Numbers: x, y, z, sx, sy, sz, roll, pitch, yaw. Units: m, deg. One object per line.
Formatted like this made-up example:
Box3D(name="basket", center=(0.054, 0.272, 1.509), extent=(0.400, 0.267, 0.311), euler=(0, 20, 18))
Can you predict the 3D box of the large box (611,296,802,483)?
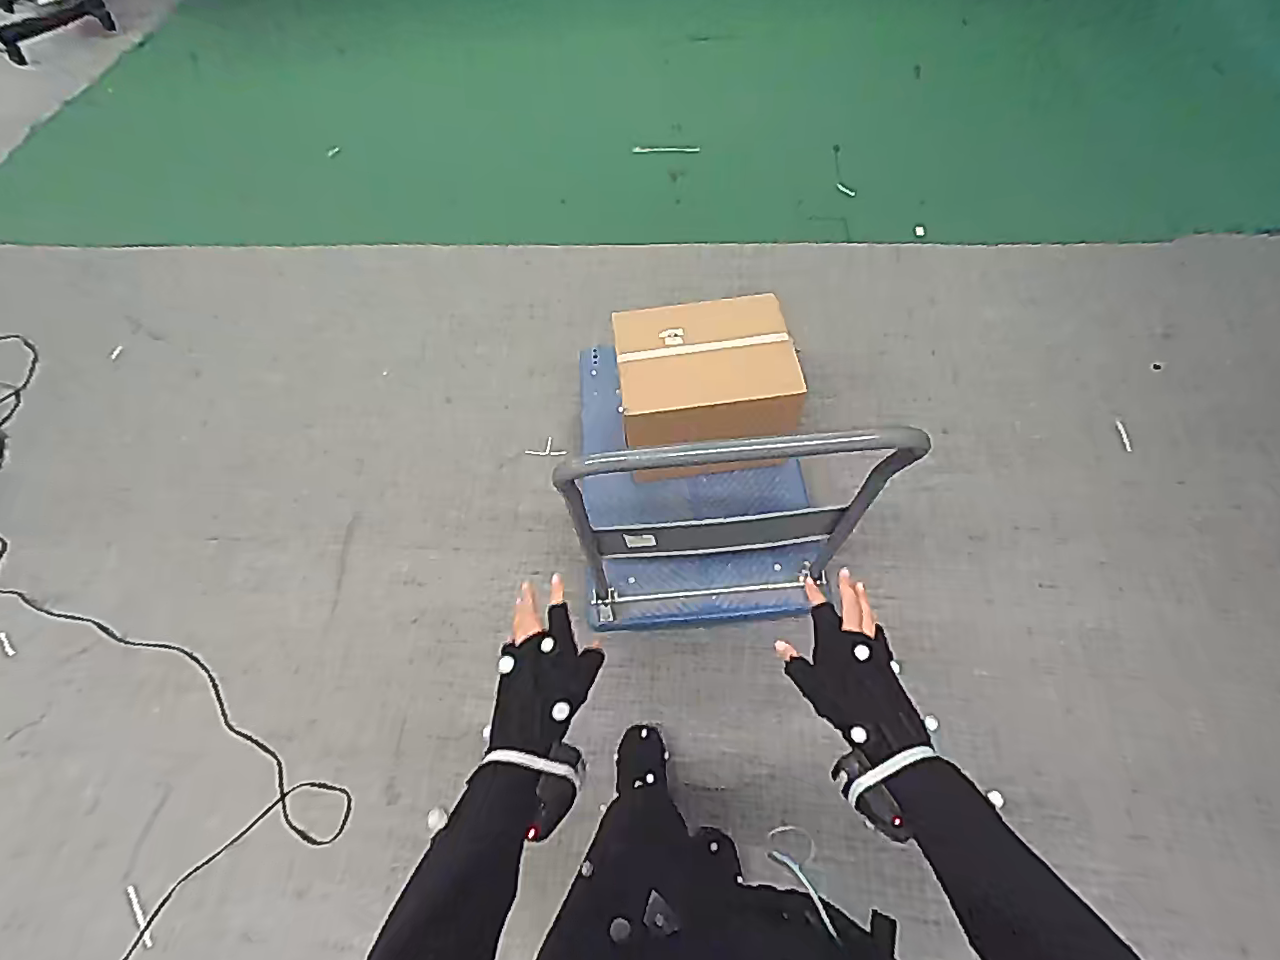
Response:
Box3D(name="large box", center=(0.156, -0.219, 1.383), extent=(0.408, 0.320, 0.320), euler=(-8, 60, 1))
